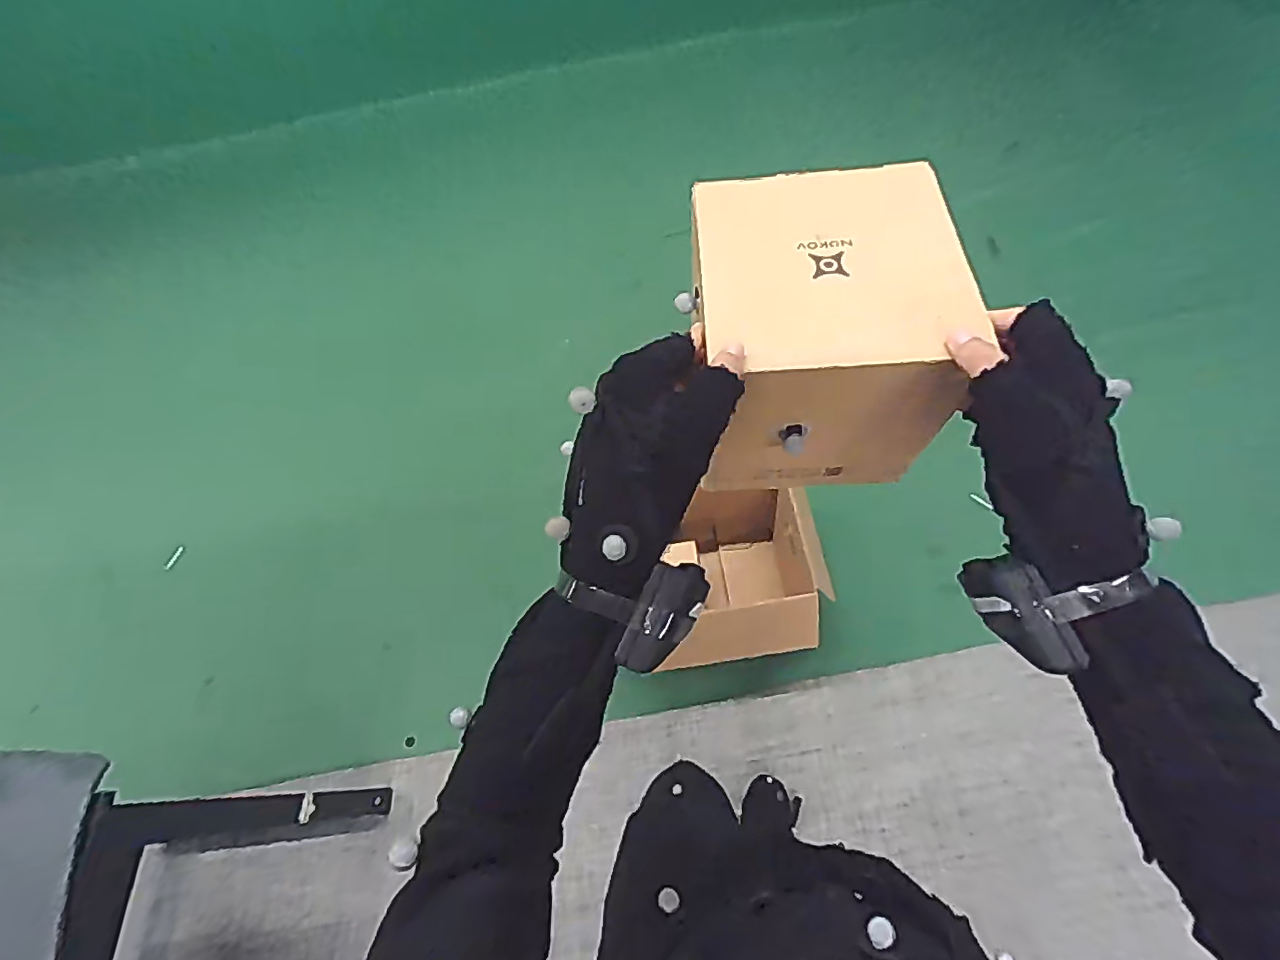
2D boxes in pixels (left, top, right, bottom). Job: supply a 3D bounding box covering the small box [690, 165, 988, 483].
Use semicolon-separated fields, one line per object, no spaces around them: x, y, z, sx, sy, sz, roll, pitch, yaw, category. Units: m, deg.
0.127;-0.106;0.423;0.168;0.176;0.179;-3;62;5;small box
